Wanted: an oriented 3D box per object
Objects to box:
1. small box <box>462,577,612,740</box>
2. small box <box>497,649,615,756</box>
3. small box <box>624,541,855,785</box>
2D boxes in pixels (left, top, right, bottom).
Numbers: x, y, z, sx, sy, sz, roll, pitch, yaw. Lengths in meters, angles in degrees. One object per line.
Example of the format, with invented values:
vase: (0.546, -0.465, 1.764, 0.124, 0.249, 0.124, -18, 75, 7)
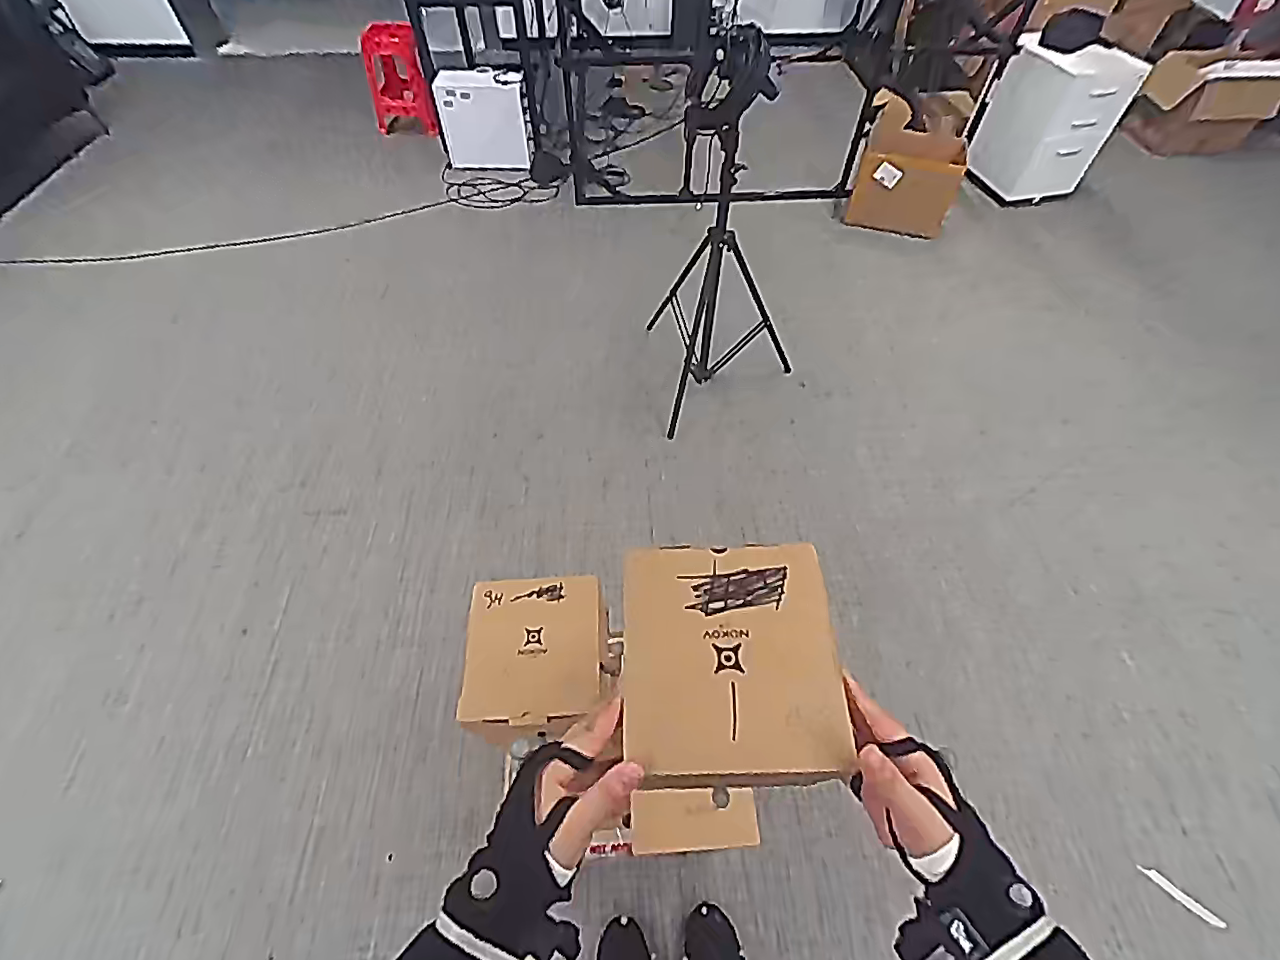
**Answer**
small box: (-0.127, 0.249, 0.735, 0.168, 0.176, 0.179, -4, 57, -1)
small box: (-0.129, 0.334, 0.876, 0.168, 0.176, 0.179, -5, 56, -1)
small box: (0.073, 0.172, 0.493, 0.168, 0.176, 0.179, -3, 58, 2)
